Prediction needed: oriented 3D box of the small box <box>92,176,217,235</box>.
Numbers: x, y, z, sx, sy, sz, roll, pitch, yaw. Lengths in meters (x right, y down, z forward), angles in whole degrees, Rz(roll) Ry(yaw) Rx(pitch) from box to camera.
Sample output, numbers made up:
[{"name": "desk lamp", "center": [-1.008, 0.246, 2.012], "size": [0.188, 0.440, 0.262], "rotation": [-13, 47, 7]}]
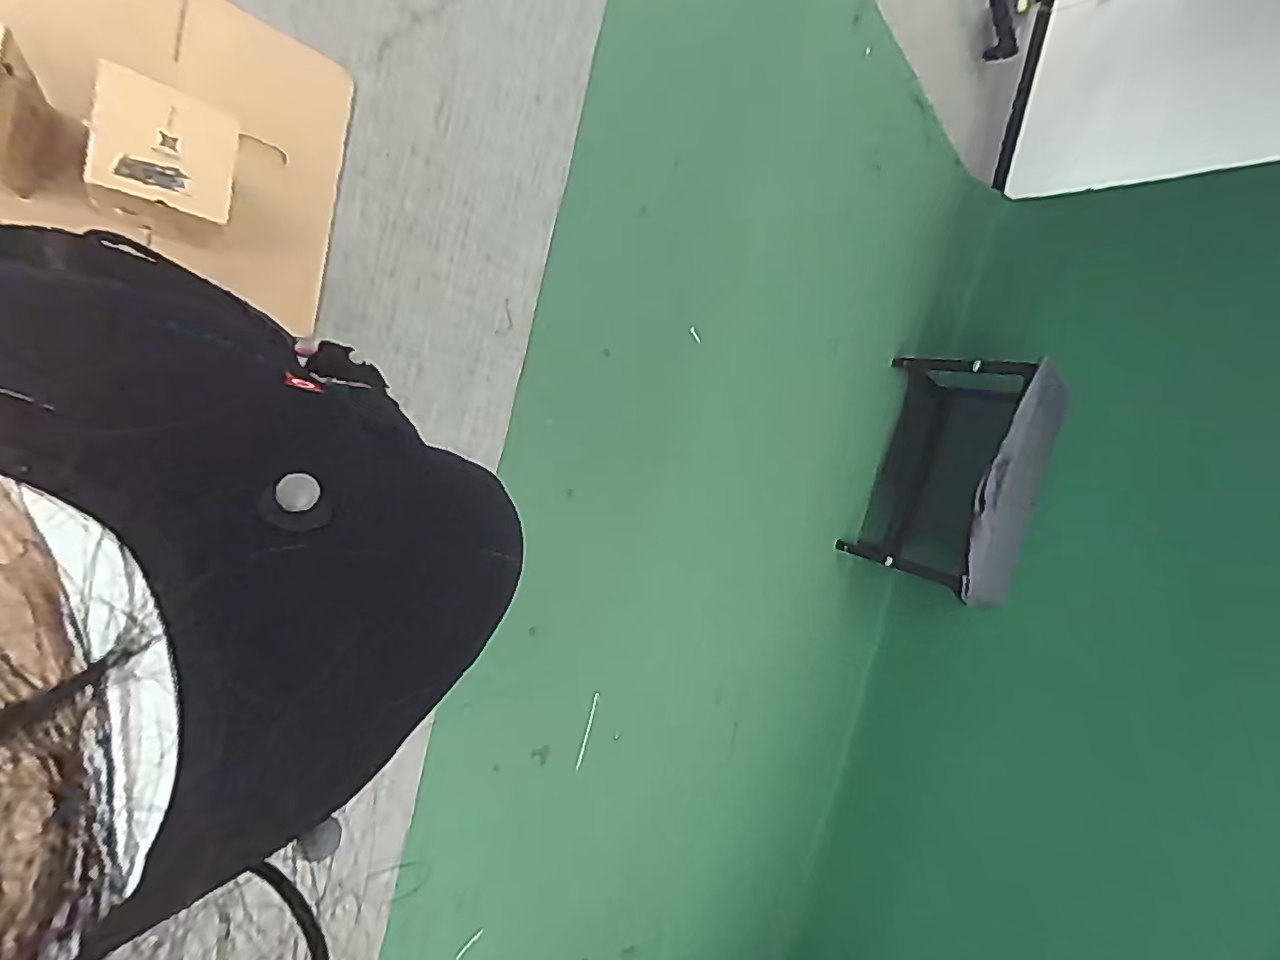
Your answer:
[{"name": "small box", "center": [-0.878, -0.573, 0.992], "size": [0.168, 0.176, 0.179], "rotation": [7, 98, -43]}]

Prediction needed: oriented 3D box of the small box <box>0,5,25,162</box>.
[{"name": "small box", "center": [-0.948, -0.556, 0.704], "size": [0.168, 0.176, 0.179], "rotation": [13, 94, -42]}]

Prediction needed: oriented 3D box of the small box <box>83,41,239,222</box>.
[{"name": "small box", "center": [-0.768, -0.540, 0.874], "size": [0.168, 0.176, 0.179], "rotation": [6, 98, -43]}]
